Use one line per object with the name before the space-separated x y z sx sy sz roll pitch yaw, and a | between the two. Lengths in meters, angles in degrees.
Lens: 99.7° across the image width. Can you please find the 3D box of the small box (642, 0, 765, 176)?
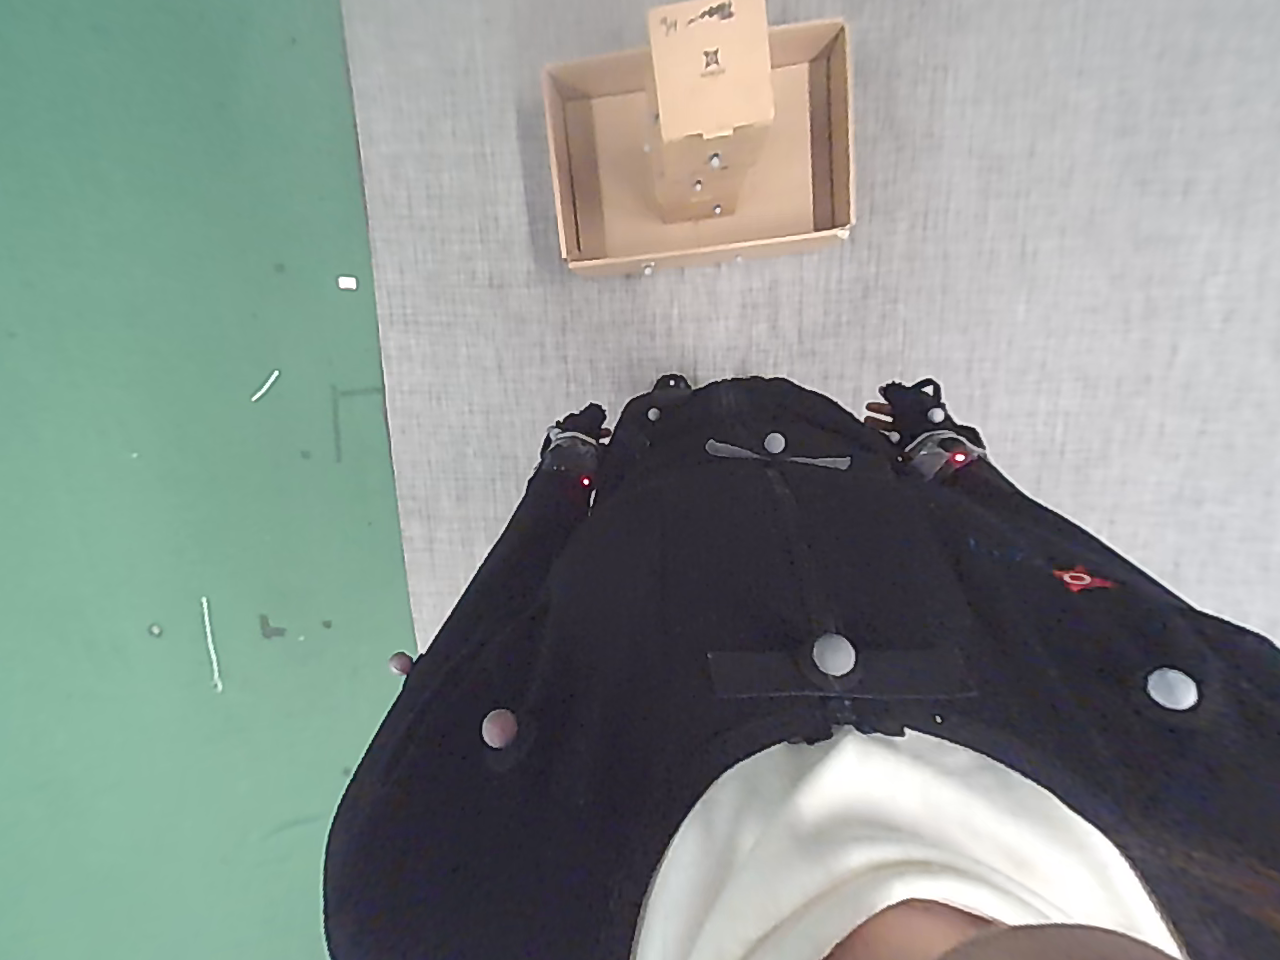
small box | 0.103 -0.615 0.874 0.168 0.176 0.179 -8 100 7

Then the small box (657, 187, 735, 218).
small box | 0.116 -0.686 1.174 0.168 0.176 0.179 -5 99 5
